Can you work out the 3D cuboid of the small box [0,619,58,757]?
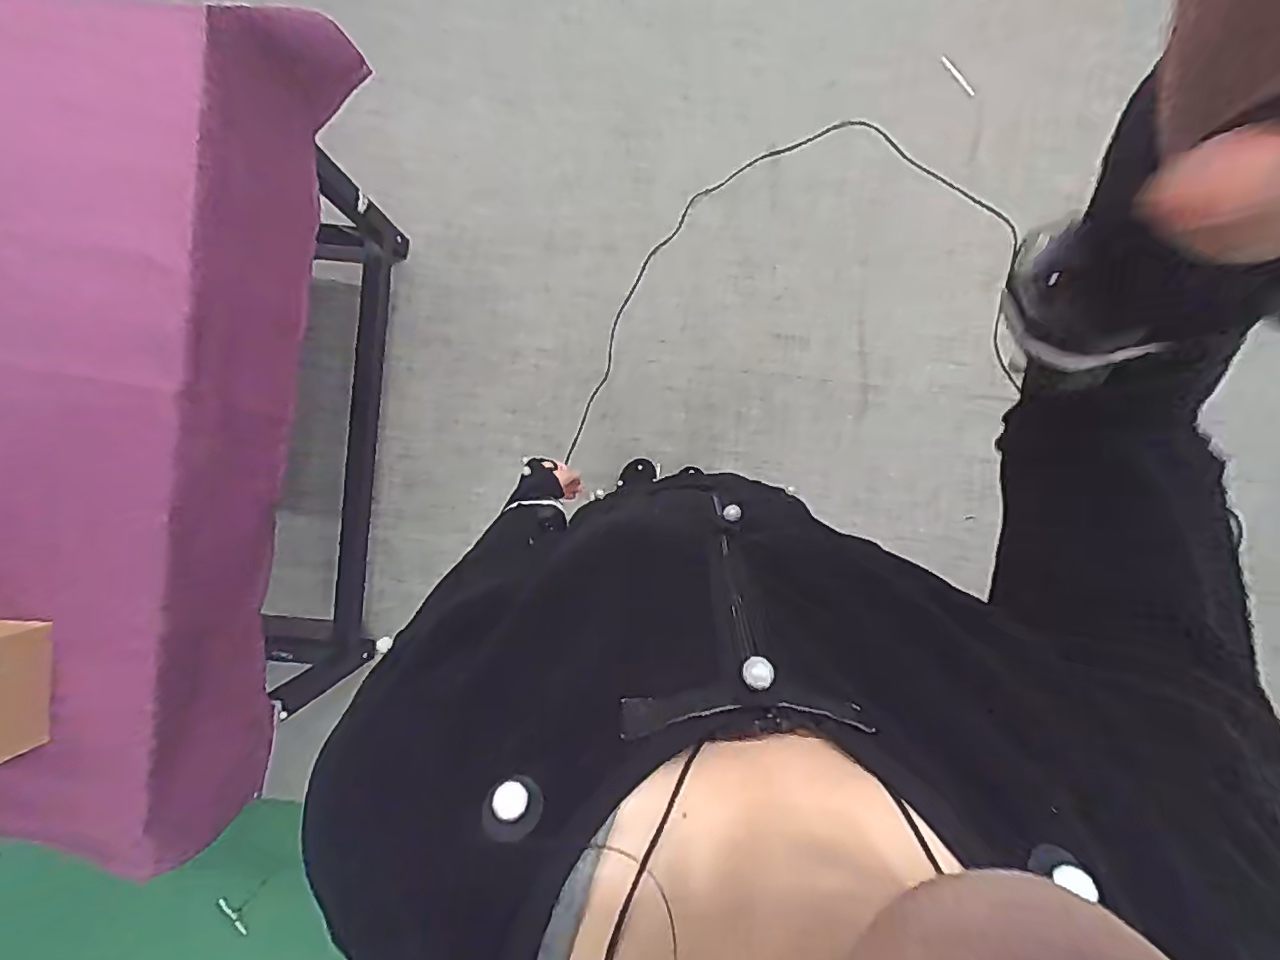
[{"bbox_3d":[-0.932,0.283,0.710,0.168,0.176,0.179,3,91,0],"label":"small box"}]
